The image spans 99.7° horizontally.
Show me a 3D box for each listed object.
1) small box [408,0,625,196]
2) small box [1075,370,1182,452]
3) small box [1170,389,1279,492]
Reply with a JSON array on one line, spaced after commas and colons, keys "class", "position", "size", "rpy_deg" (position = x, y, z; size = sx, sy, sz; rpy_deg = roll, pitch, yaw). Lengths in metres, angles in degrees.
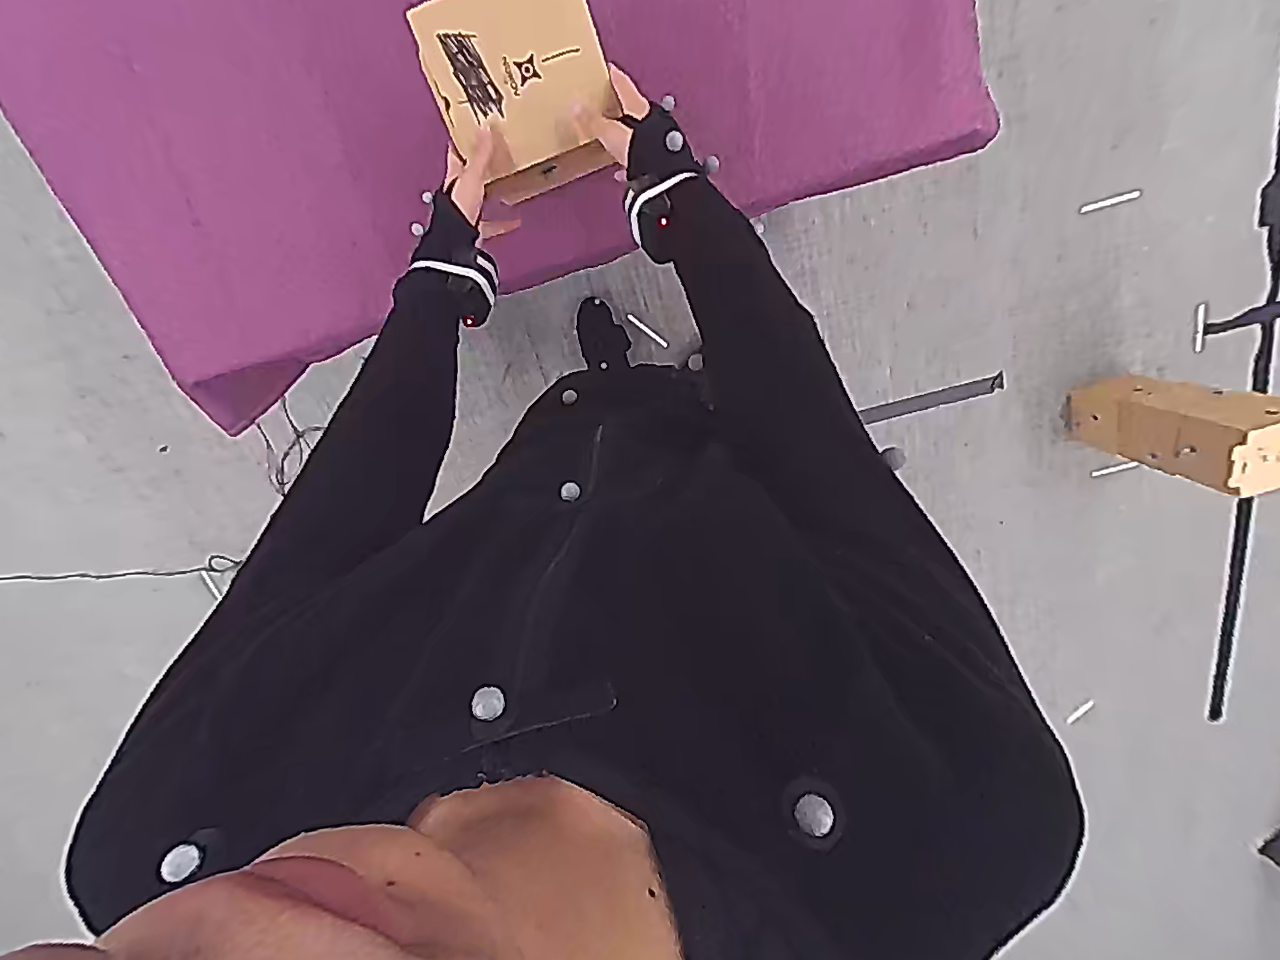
[{"class": "small box", "position": [-0.123, -0.449, 0.622], "size": [0.179, 0.176, 0.168], "rpy_deg": [-19, 111, 6]}, {"class": "small box", "position": [1.393, -0.202, 1.554], "size": [0.179, 0.176, 0.168], "rpy_deg": [-19, 111, 5]}, {"class": "small box", "position": [1.389, -0.097, 1.240], "size": [0.179, 0.176, 0.168], "rpy_deg": [-16, 112, 5]}]
